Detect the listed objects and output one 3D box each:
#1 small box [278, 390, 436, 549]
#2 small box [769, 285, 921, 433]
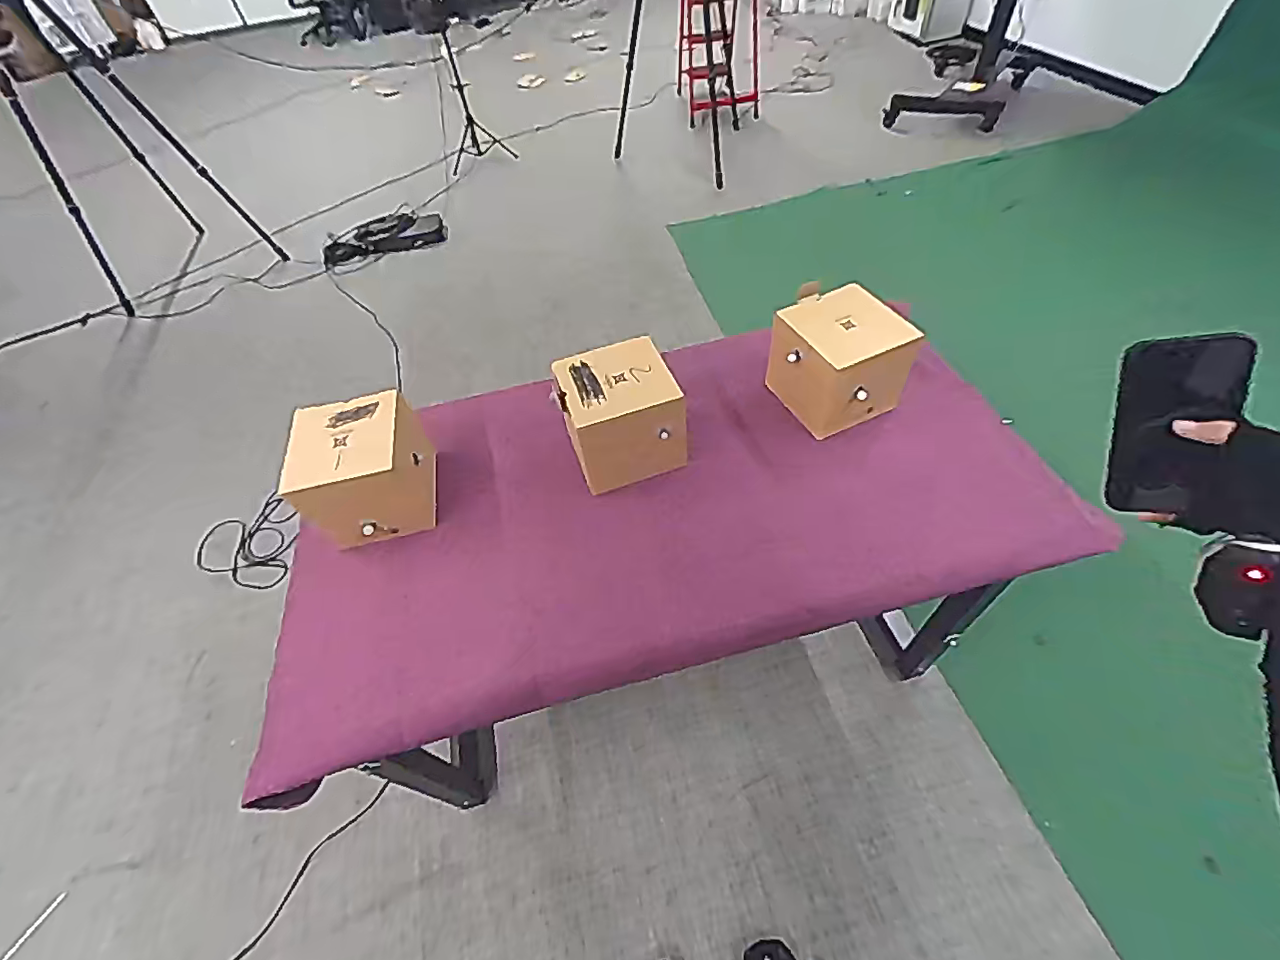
[{"bbox_3d":[-0.445,-0.015,0.883,0.168,0.176,0.179,-13,54,-4],"label":"small box"},{"bbox_3d":[0.344,-0.203,0.946,0.168,0.176,0.179,-23,53,-10],"label":"small box"}]
